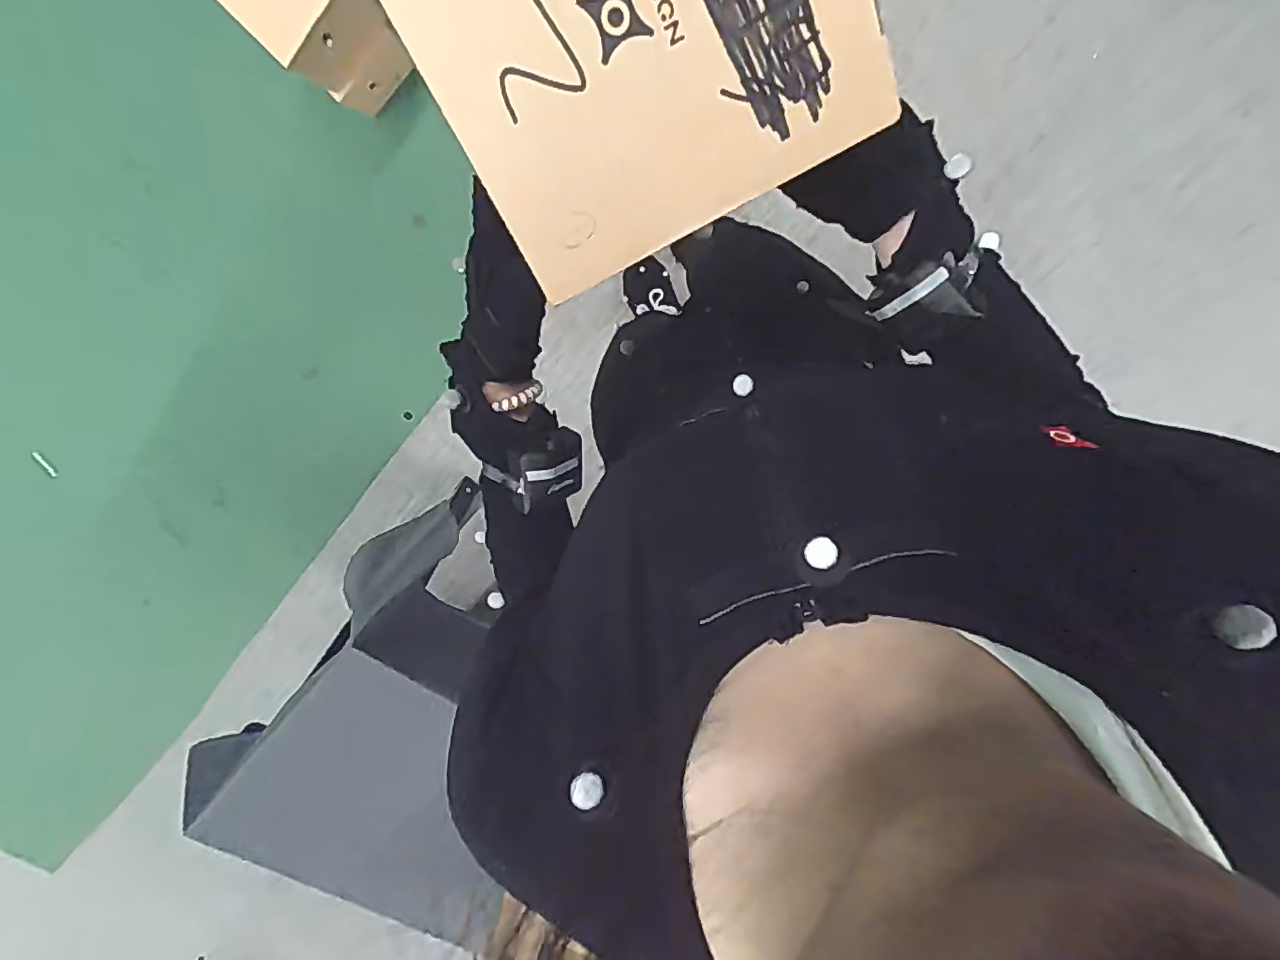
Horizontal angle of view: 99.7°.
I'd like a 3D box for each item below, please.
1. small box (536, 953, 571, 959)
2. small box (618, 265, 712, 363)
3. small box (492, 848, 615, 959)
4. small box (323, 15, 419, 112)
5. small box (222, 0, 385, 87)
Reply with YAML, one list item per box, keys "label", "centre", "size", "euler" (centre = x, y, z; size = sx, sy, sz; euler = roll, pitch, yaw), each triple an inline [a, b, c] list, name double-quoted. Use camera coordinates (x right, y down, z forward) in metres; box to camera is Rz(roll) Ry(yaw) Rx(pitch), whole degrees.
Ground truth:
- label: "small box"
  centre: [-0.151, 0.927, 0.888]
  size: [0.179, 0.176, 0.168]
  euler: [38, 108, -17]
- label: "small box"
  centre: [0.056, -0.407, 1.313]
  size: [0.179, 0.176, 0.168]
  euler: [21, 125, 8]
- label: "small box"
  centre: [-0.158, 0.858, 1.035]
  size: [0.168, 0.176, 0.179]
  euler: [40, 106, -18]
- label: "small box"
  centre: [-0.574, -0.868, 1.068]
  size: [0.168, 0.176, 0.179]
  euler: [-40, 109, 14]
- label: "small box"
  centre: [-0.569, -0.815, 0.911]
  size: [0.179, 0.176, 0.168]
  euler: [-41, 109, 15]
